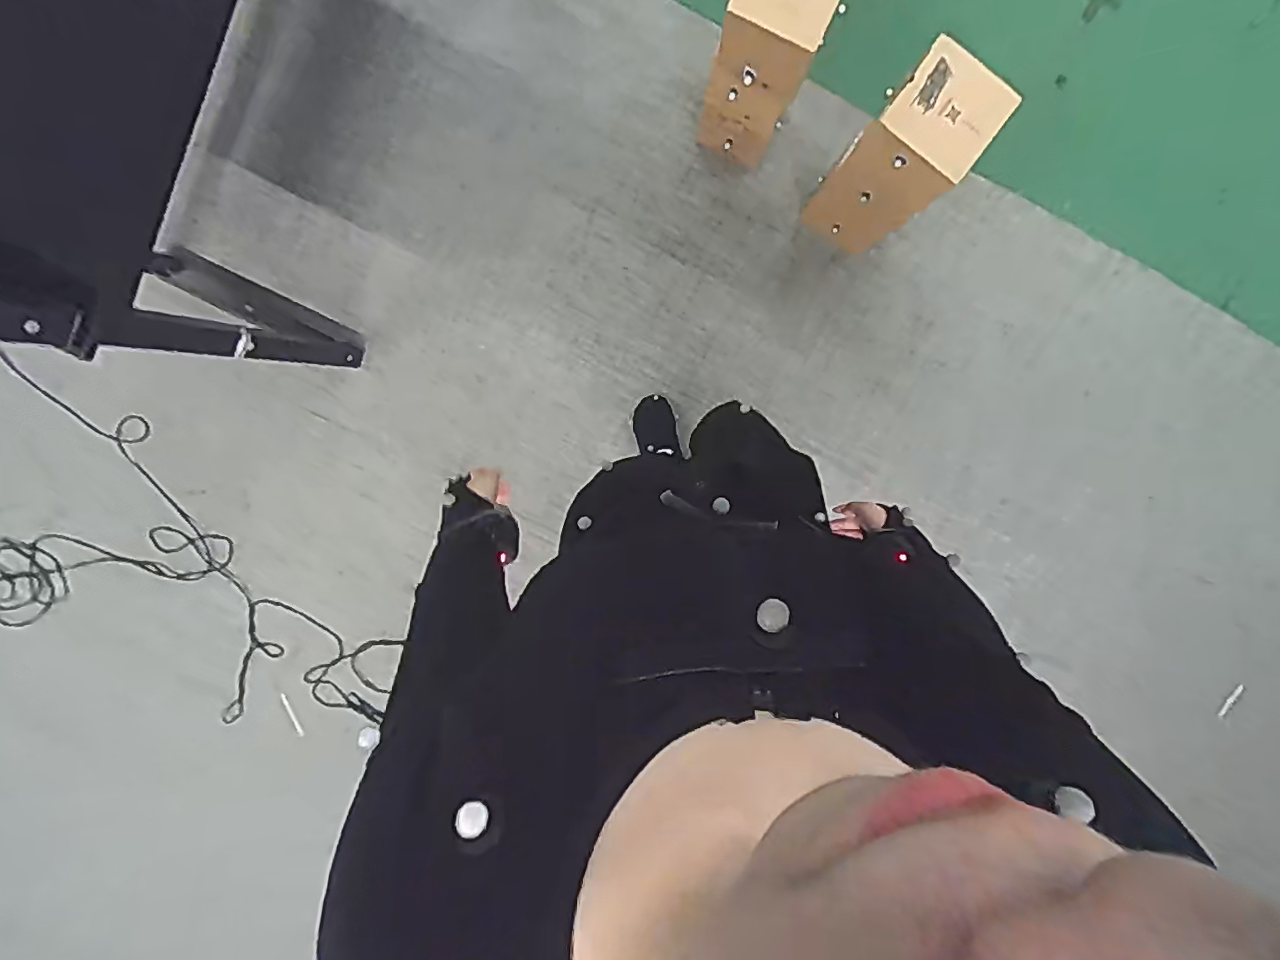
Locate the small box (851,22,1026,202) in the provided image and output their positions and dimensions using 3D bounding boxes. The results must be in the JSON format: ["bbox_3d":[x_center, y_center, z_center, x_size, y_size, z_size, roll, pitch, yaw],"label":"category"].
[{"bbox_3d":[0.511,-0.632,0.958,0.179,0.176,0.168,35,99,-5],"label":"small box"}]

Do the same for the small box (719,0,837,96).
[{"bbox_3d":[0.247,-0.825,0.936,0.168,0.176,0.179,24,99,-1],"label":"small box"}]

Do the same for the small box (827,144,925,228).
[{"bbox_3d":[0.521,-0.657,1.120,0.179,0.176,0.168,37,99,-5],"label":"small box"}]

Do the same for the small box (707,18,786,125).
[{"bbox_3d":[0.246,-0.868,1.093,0.168,0.176,0.179,26,98,-3],"label":"small box"}]
